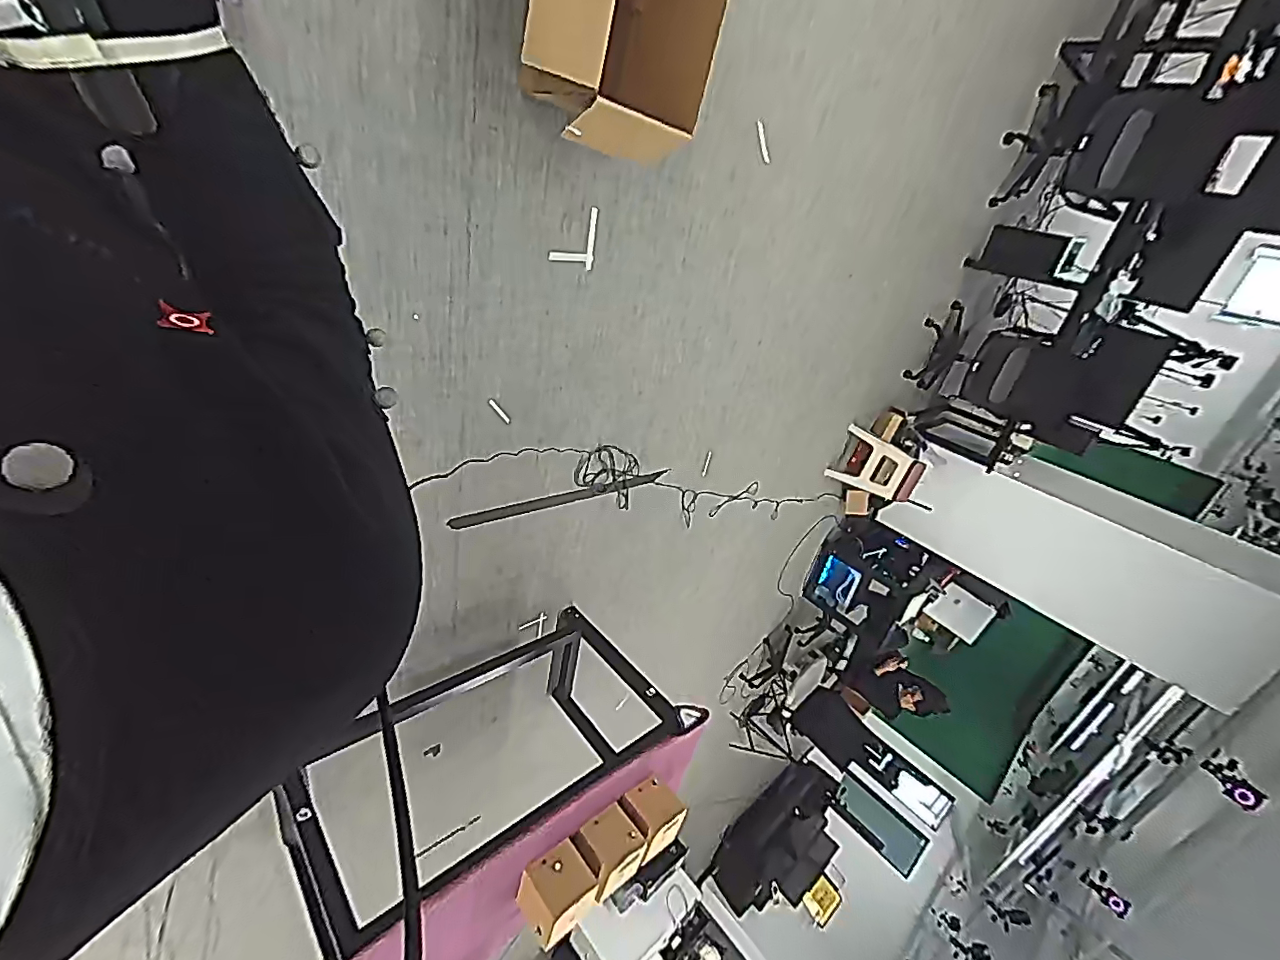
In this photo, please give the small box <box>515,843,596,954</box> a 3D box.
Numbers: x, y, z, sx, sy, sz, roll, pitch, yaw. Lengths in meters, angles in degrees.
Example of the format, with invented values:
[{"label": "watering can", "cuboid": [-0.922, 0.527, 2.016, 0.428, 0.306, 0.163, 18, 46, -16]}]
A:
[{"label": "small box", "cuboid": [-0.262, 1.262, 1.644, 0.168, 0.176, 0.179, -12, 126, -44]}]
